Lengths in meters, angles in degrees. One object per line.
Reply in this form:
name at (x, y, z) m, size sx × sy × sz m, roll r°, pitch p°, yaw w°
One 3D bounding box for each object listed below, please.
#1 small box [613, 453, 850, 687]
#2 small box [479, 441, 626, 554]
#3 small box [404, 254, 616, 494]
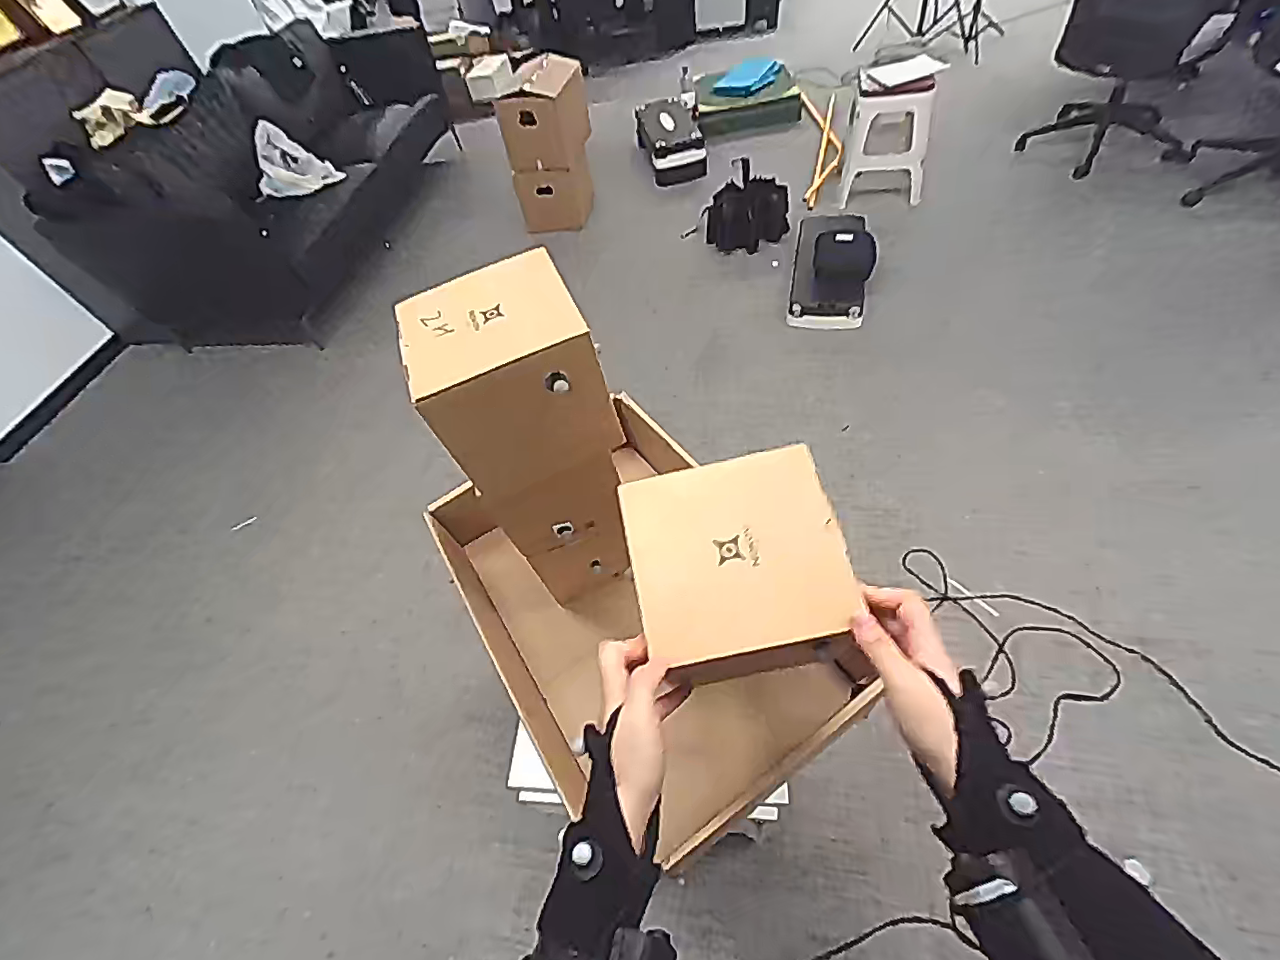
small box at (0.081, 0.099, 0.538) m, size 0.179 × 0.176 × 0.168 m, roll -12°, pitch 62°, yaw 1°
small box at (-0.121, -0.028, 0.753) m, size 0.168 × 0.176 × 0.179 m, roll -21°, pitch 54°, yaw -1°
small box at (-0.136, -0.115, 0.613) m, size 0.179 × 0.176 × 0.168 m, roll -24°, pitch 53°, yaw -3°
